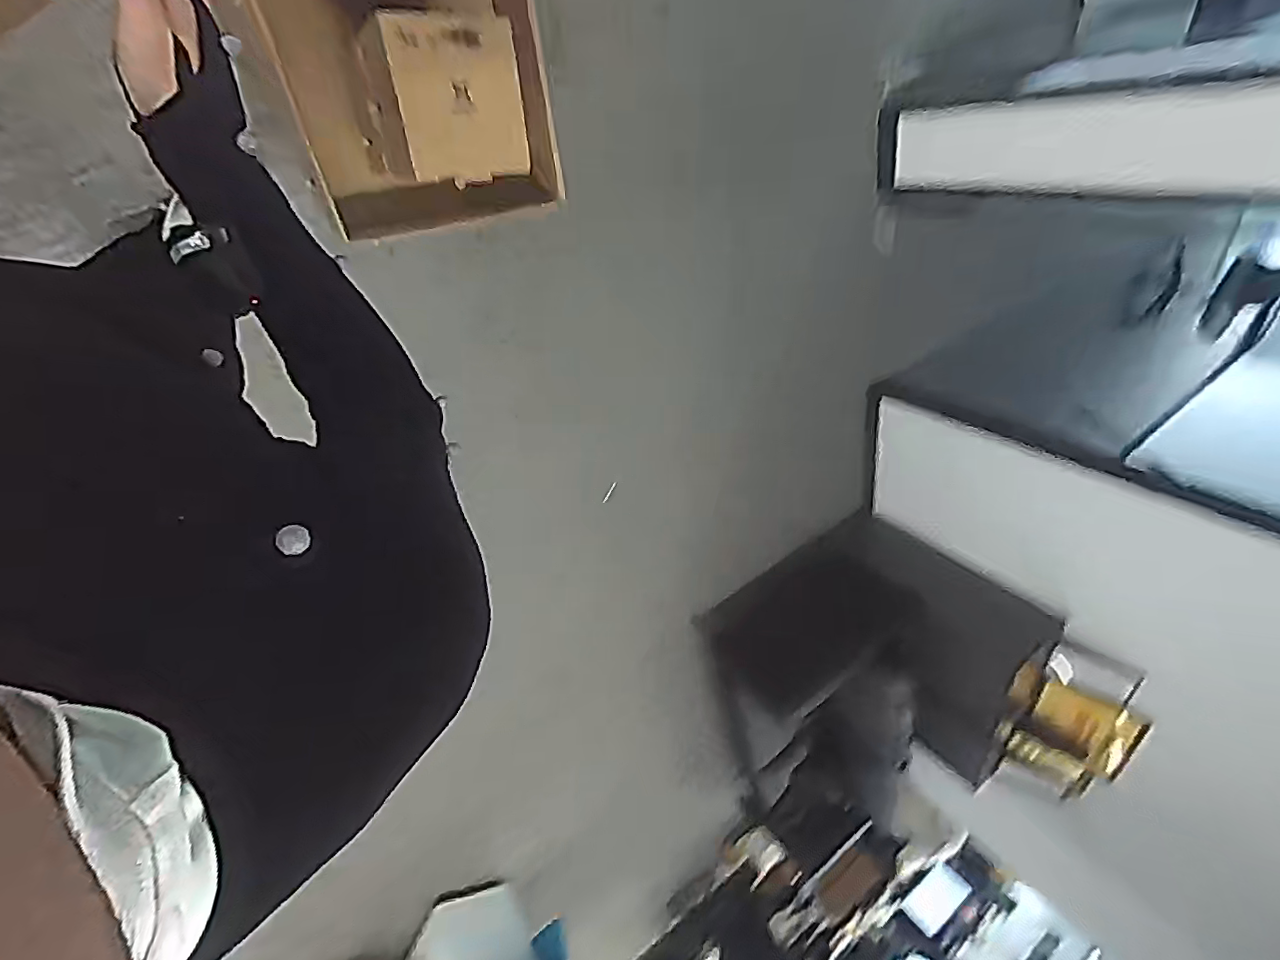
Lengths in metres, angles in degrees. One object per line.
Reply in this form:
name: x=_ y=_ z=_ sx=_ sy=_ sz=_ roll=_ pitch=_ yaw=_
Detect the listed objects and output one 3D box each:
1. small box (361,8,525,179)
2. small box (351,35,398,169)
small box: x=-0.277 y=-0.535 z=0.765 sx=0.168 sy=0.176 sz=0.179 roll=-19 pitch=126 yaw=-24
small box: x=-0.358 y=-0.606 z=0.887 sx=0.179 sy=0.176 sz=0.168 roll=-18 pitch=126 yaw=-25
